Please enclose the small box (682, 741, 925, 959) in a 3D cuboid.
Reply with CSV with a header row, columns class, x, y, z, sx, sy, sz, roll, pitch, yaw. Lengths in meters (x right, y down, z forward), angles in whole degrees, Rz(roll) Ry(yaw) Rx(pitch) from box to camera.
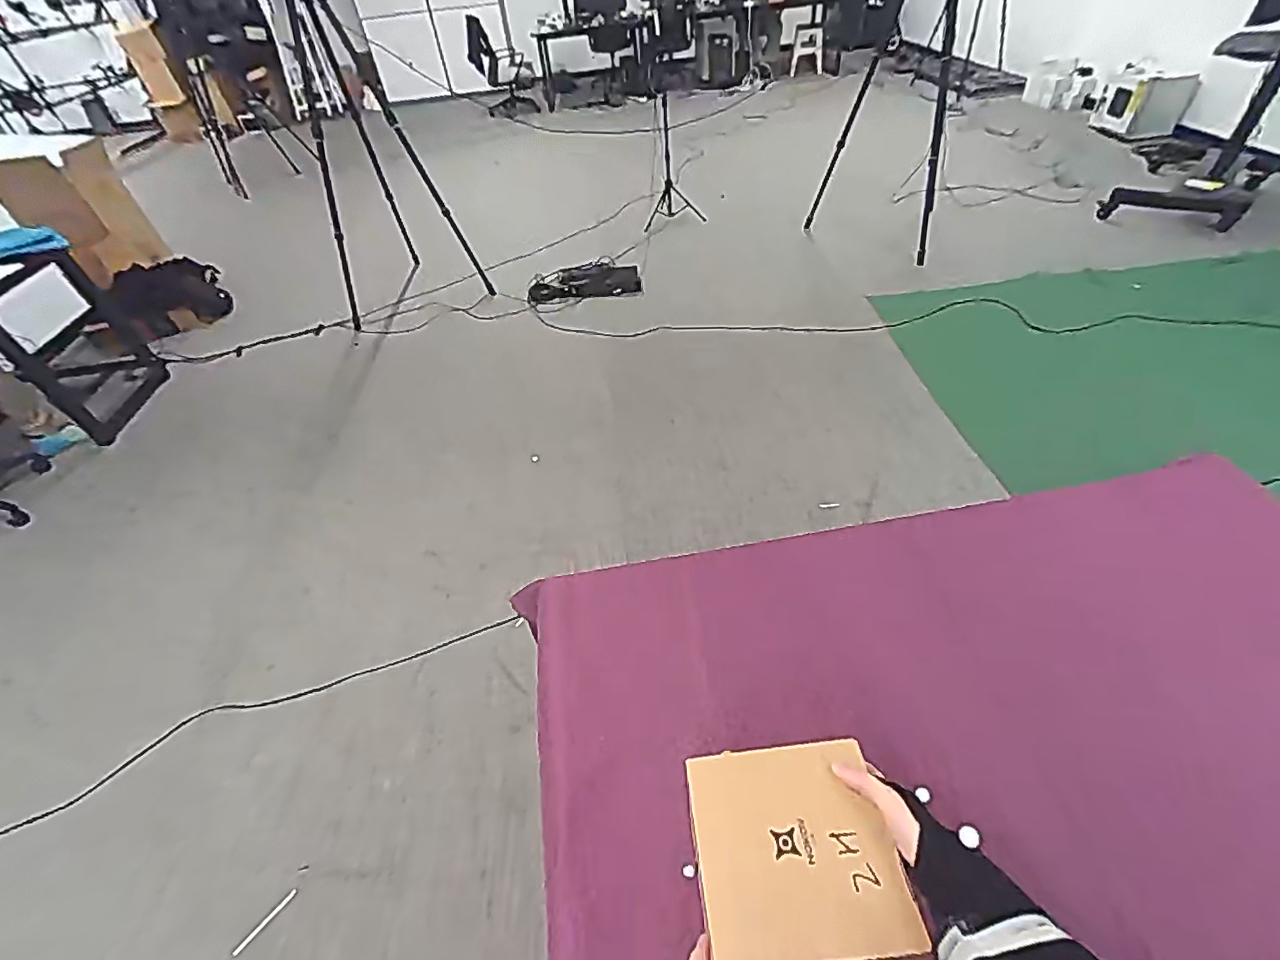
class,x,y,z,sx,sy,sz,roll,pitch,yaw
small box,0.143,0.384,0.536,0.179,0.176,0.168,-7,44,1
